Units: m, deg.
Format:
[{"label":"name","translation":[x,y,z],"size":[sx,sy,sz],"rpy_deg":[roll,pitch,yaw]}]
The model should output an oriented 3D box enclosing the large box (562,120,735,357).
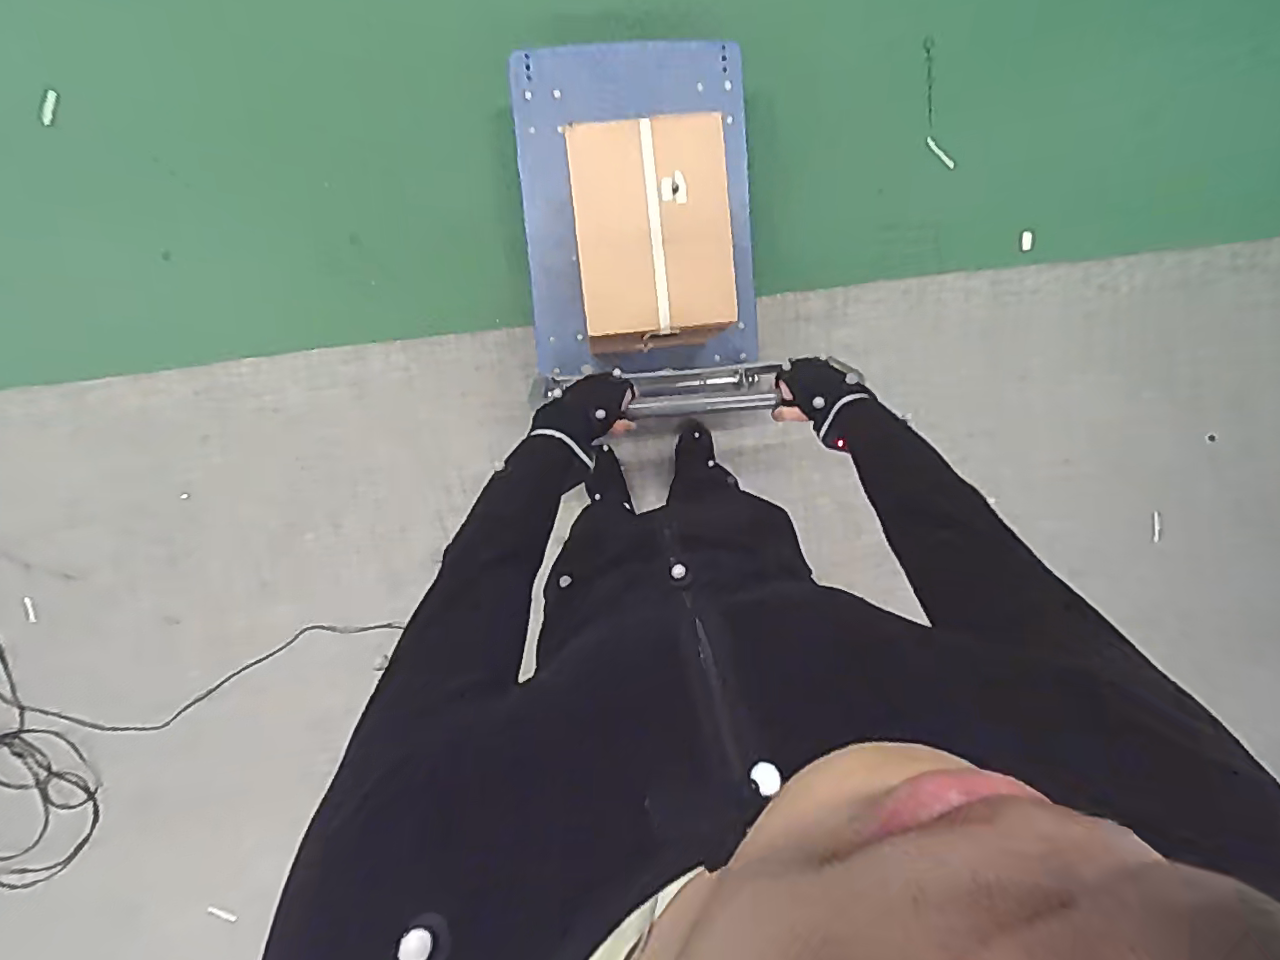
[{"label":"large box","translation":[0.015,-0.518,1.238],"size":[0.320,0.320,0.408],"rpy_deg":[-7,97,-3]}]
